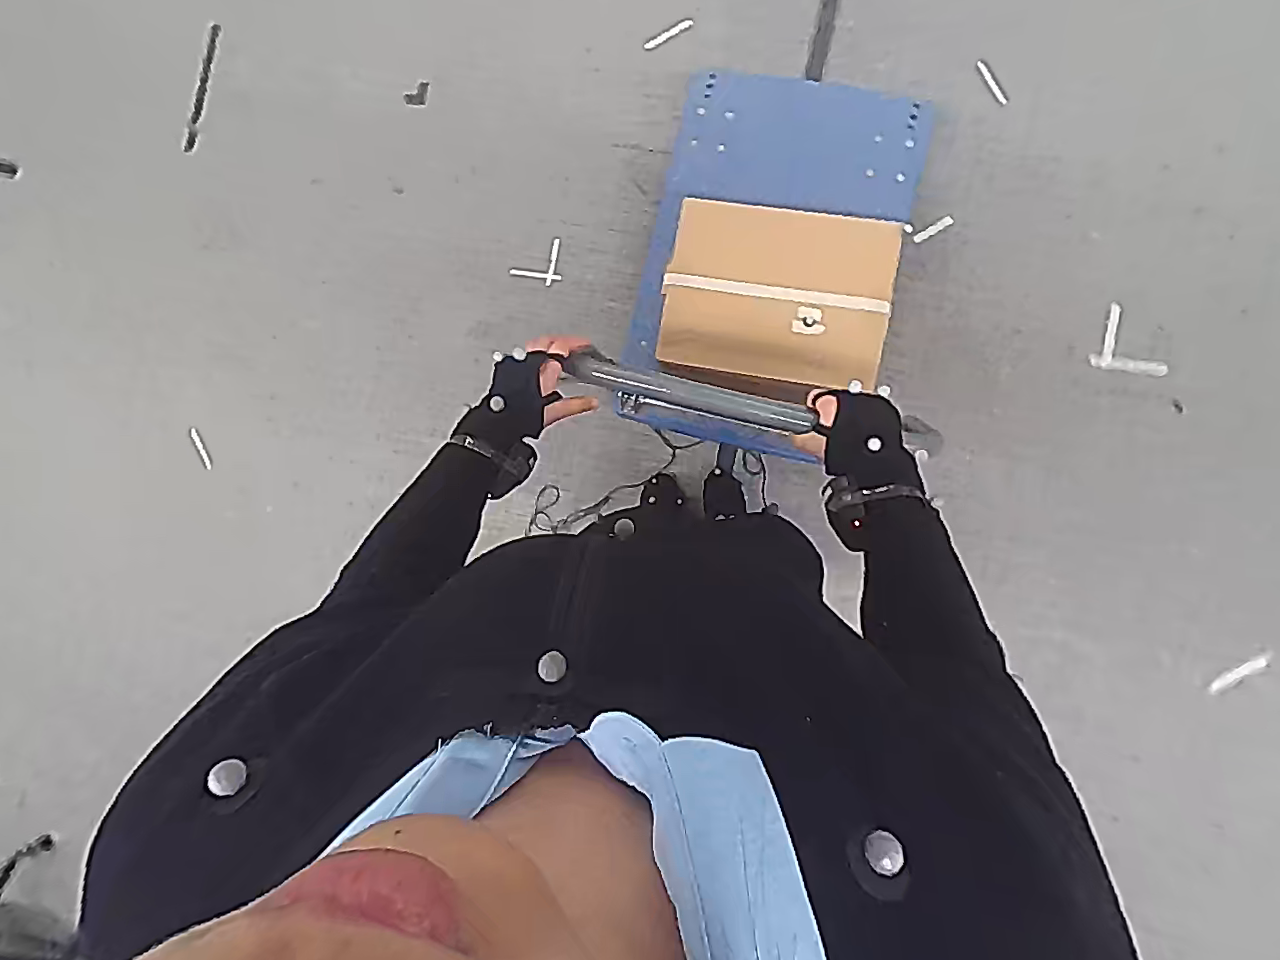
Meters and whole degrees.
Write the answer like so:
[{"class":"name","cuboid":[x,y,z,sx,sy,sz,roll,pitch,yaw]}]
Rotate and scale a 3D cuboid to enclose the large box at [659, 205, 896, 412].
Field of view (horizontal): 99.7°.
[{"class":"large box","cuboid":[0.267,-0.343,1.158,0.408,0.320,0.320,10,92,6]}]
